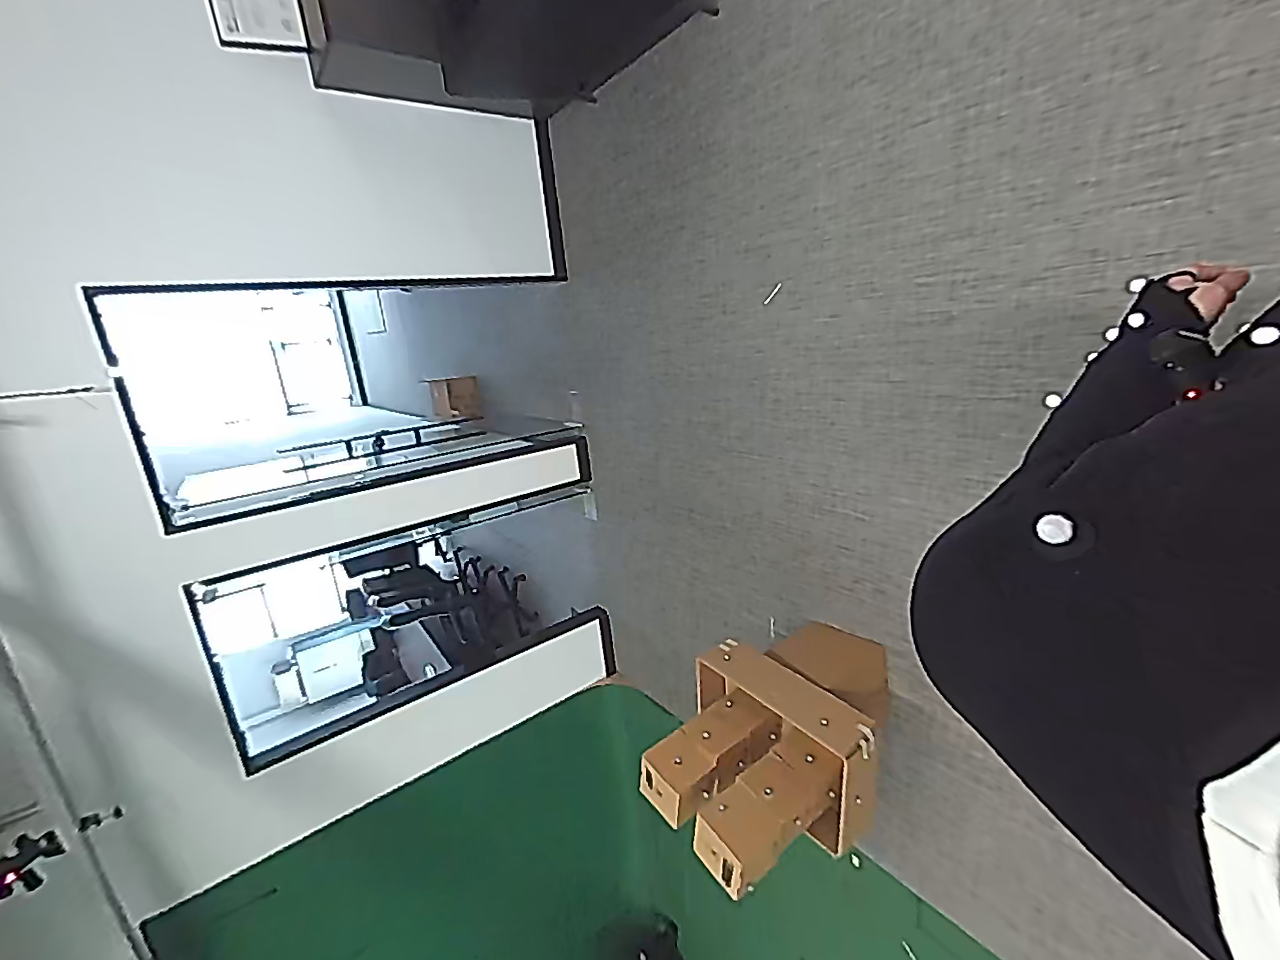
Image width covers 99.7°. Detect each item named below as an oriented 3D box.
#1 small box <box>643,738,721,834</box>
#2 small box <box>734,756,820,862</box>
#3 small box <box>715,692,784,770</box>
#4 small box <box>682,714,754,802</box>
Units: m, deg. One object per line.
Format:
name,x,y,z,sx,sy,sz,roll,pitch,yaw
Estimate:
small box,0.131,0.956,1.713,0.179,0.176,0.168,26,123,44
small box,0.410,0.973,1.615,0.179,0.176,0.168,31,127,46
small box,0.384,0.875,1.900,0.179,0.176,0.168,16,117,50
small box,0.261,0.914,1.805,0.179,0.176,0.168,15,114,49
